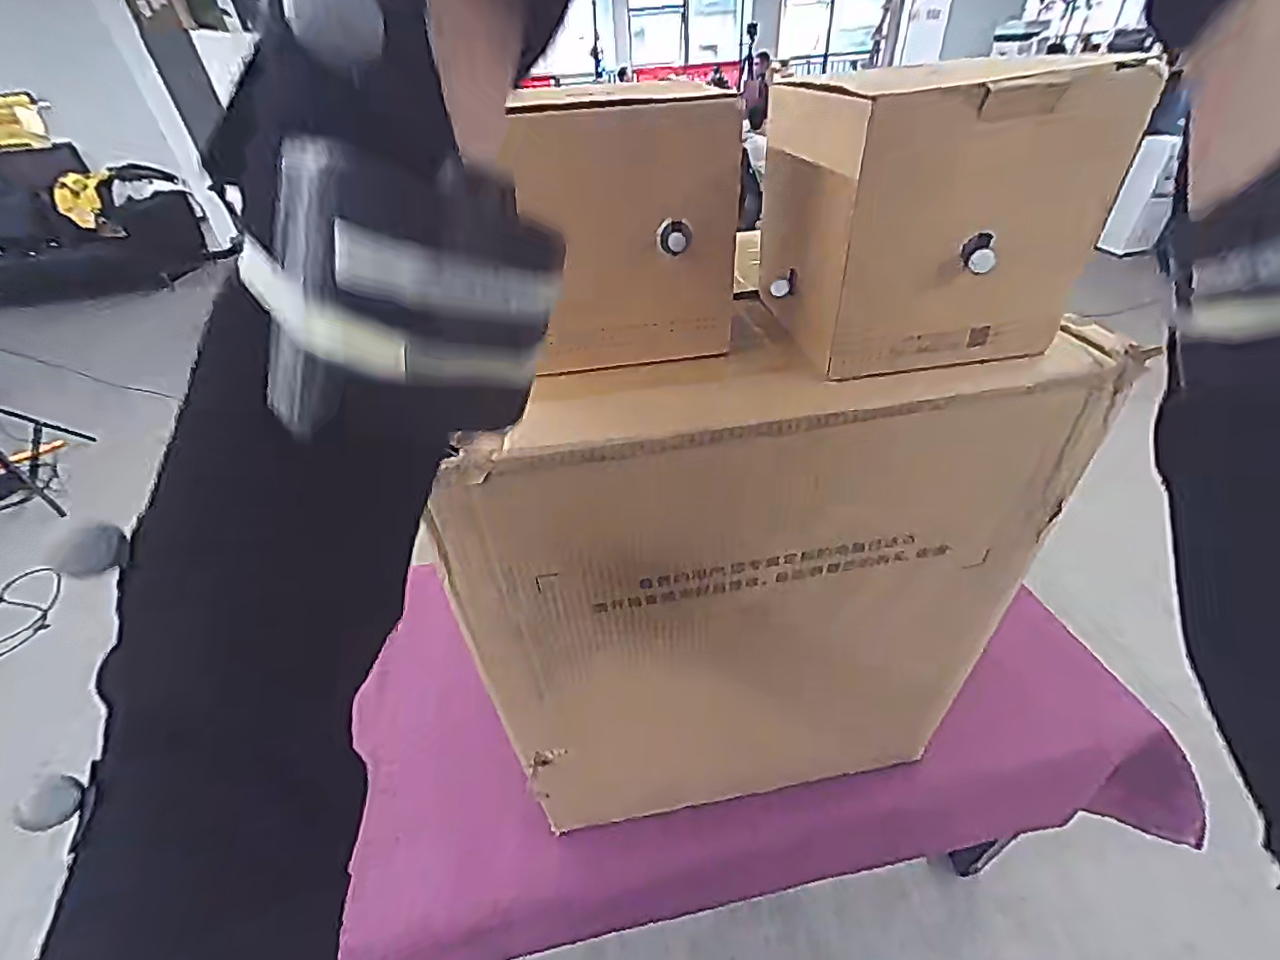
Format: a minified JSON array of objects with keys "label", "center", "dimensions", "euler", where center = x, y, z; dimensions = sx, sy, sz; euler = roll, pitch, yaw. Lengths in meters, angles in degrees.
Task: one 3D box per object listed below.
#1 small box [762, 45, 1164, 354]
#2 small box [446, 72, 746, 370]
[{"label":"small box","center":[0.196,-0.202,0.398],"dimensions":[0.168,0.176,0.179],"euler":[-7,39,-3]},{"label":"small box","center":[-0.030,-0.202,0.418],"dimensions":[0.179,0.176,0.168],"euler":[-9,38,-5]}]
